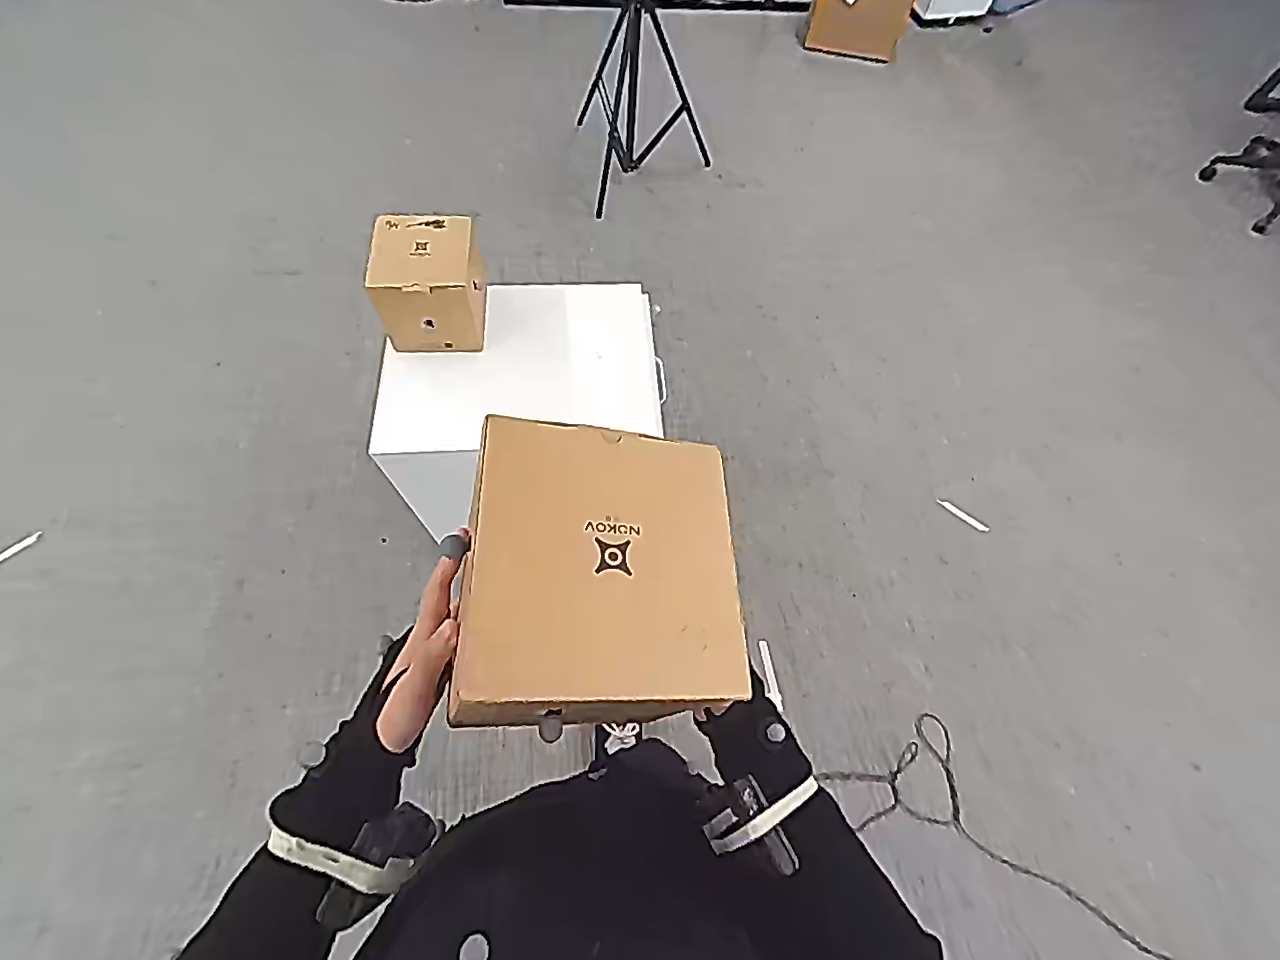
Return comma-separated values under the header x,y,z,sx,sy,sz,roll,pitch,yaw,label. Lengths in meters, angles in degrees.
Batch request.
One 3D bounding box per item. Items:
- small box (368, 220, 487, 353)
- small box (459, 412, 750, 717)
x,y,z,sx,sy,sz,roll,pitch,yaw,label
-0.383,-0.353,1.007,0.168,0.176,0.179,-2,65,-7,small box
-0.041,0.076,0.402,0.168,0.176,0.179,6,60,-18,small box
